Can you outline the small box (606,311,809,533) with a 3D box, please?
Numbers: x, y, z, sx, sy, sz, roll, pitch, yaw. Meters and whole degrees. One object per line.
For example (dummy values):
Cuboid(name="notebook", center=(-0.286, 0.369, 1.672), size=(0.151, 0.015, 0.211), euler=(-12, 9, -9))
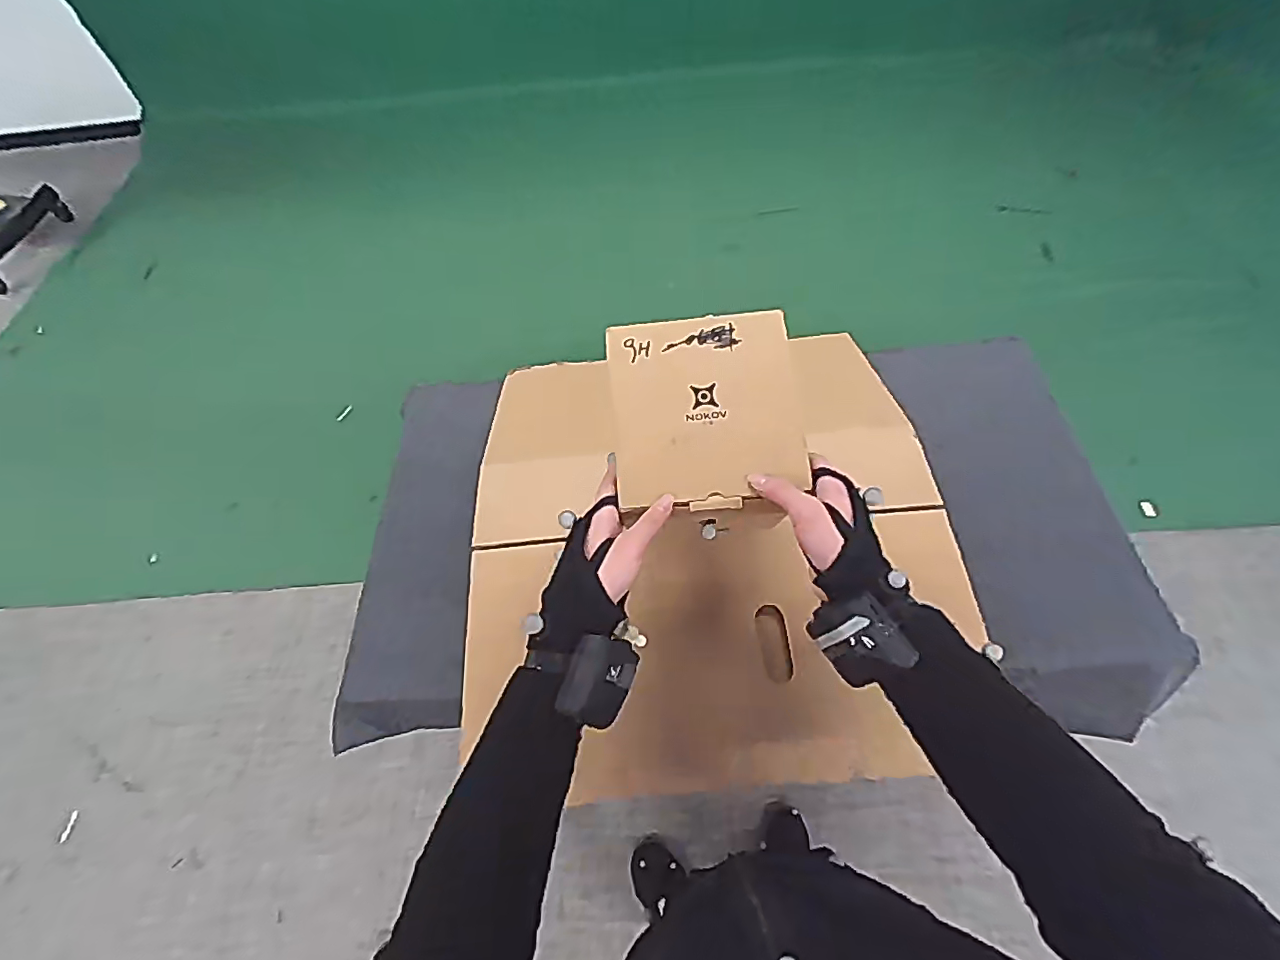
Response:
Cuboid(name="small box", center=(0.063, -0.045, 0.564), size=(0.168, 0.176, 0.179), euler=(-7, 74, 2))
